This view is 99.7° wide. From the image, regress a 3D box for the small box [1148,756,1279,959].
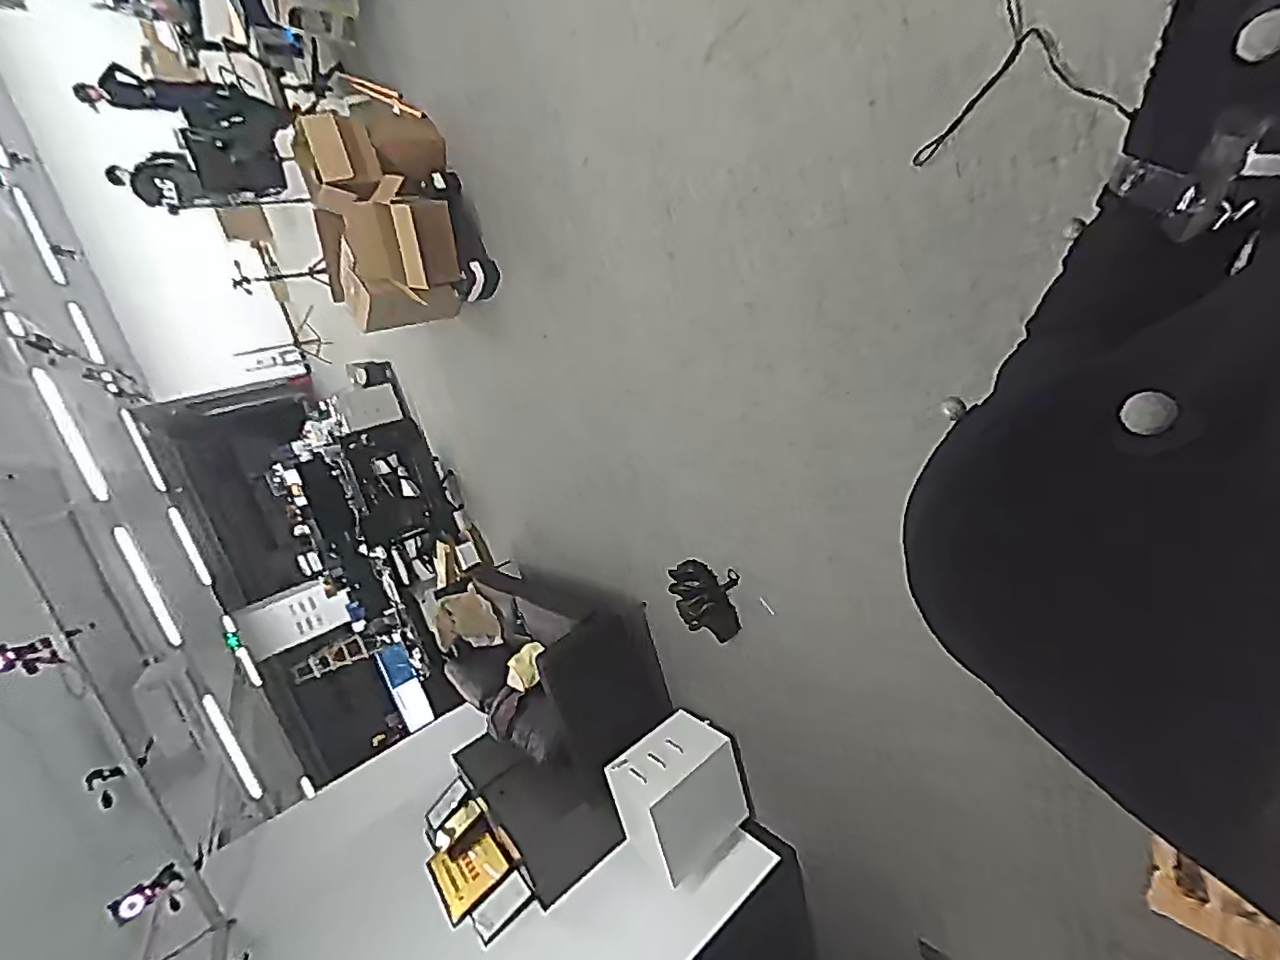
[{"bbox_3d":[0.886,0.544,0.790,0.179,0.176,0.168,10,118,52],"label":"small box"}]
